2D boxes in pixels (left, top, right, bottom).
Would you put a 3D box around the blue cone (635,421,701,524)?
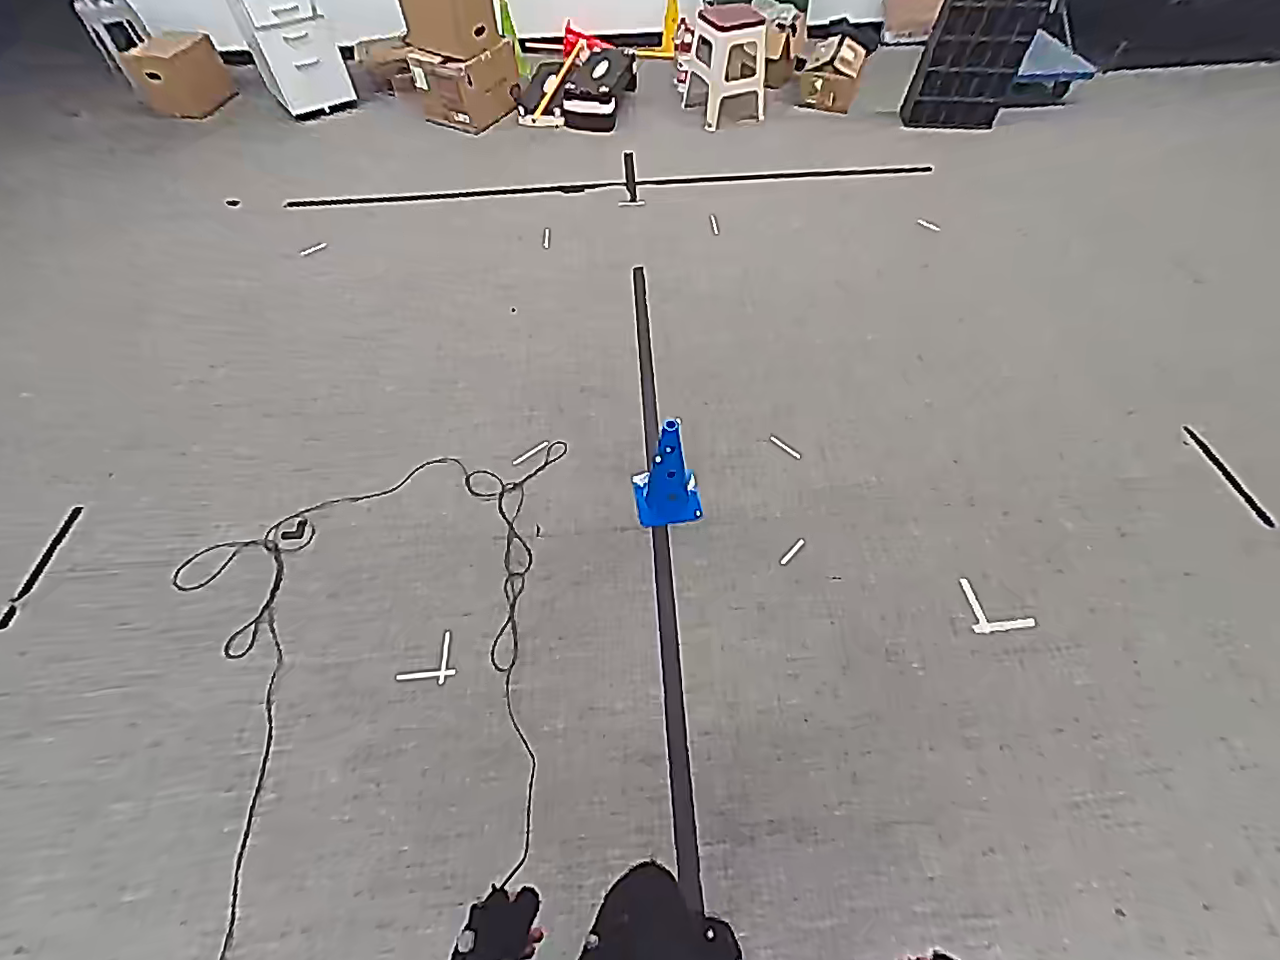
[{"bbox_3d":[0.086,-0.039,1.587,0.192,0.380,0.193,-6,56,-4],"label":"blue cone"}]
